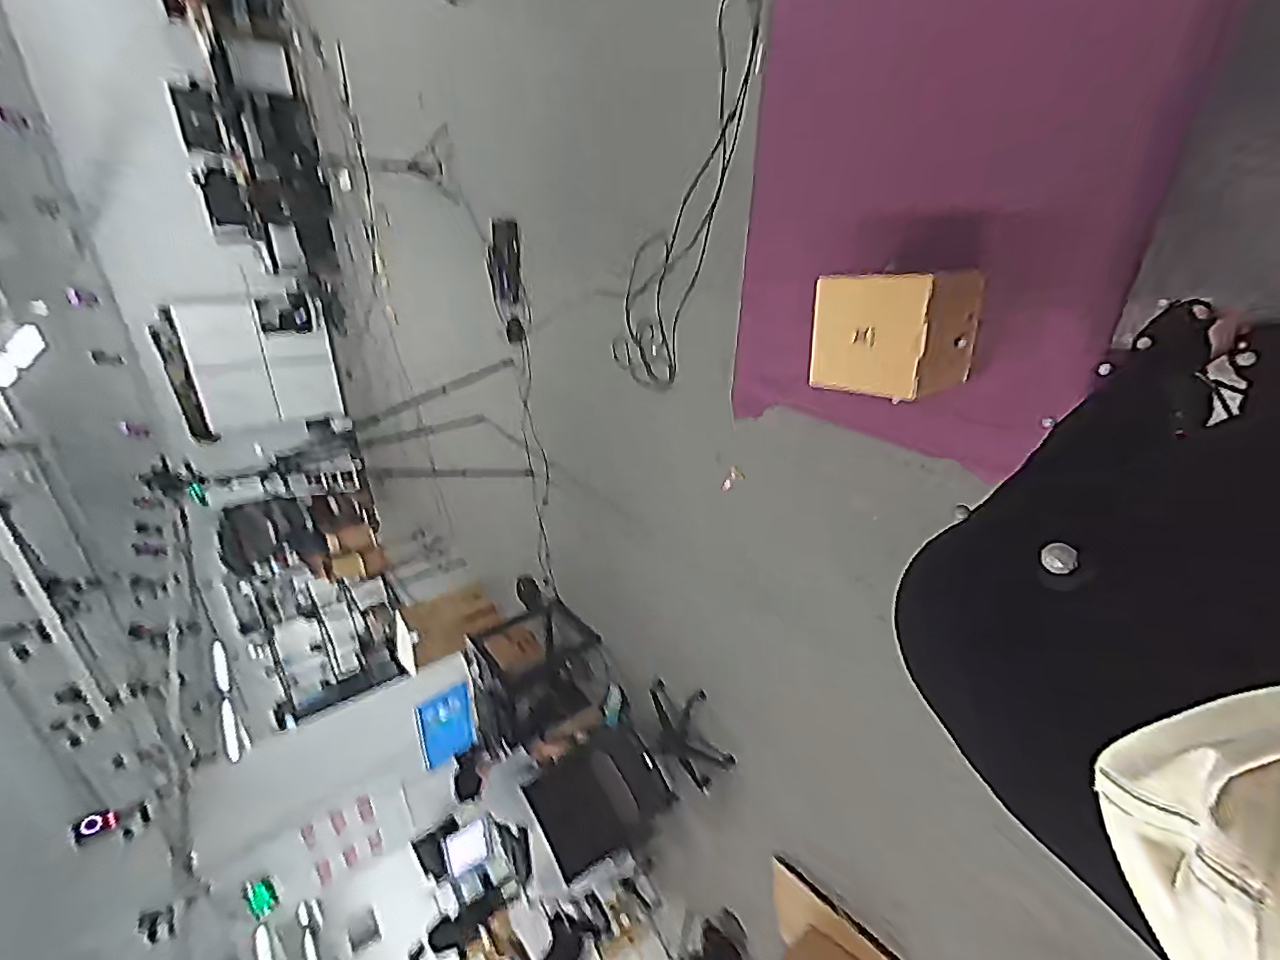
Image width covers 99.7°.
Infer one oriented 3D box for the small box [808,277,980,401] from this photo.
[{"bbox_3d":[0.391,-0.226,0.844,0.179,0.176,0.168,21,120,47],"label":"small box"}]
